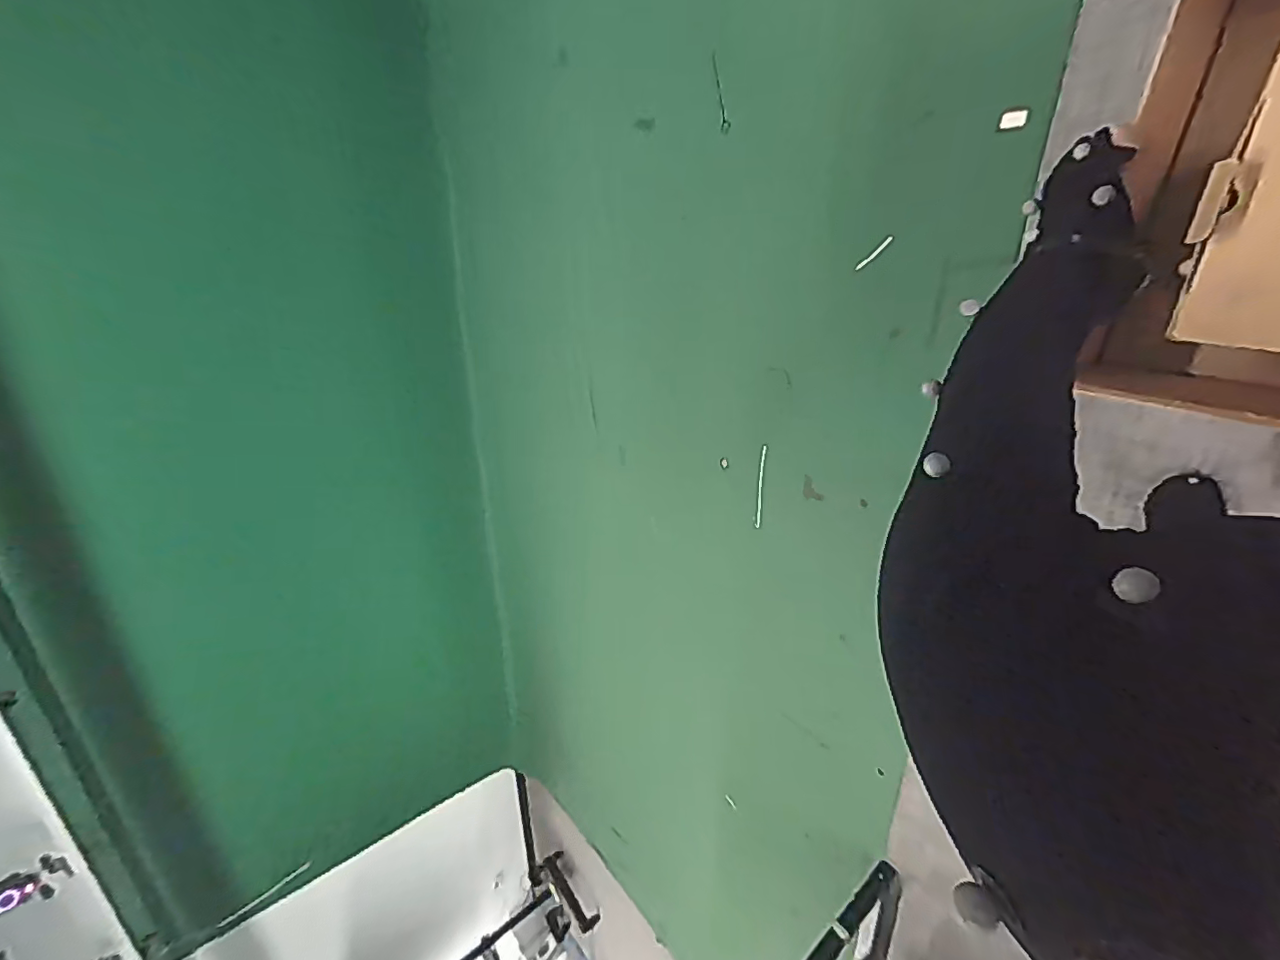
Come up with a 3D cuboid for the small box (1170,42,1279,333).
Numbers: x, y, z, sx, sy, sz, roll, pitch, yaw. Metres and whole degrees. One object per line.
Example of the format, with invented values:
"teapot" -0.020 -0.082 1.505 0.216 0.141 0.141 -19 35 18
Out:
"small box" 0.474 -0.169 0.320 0.179 0.176 0.168 25 122 44
